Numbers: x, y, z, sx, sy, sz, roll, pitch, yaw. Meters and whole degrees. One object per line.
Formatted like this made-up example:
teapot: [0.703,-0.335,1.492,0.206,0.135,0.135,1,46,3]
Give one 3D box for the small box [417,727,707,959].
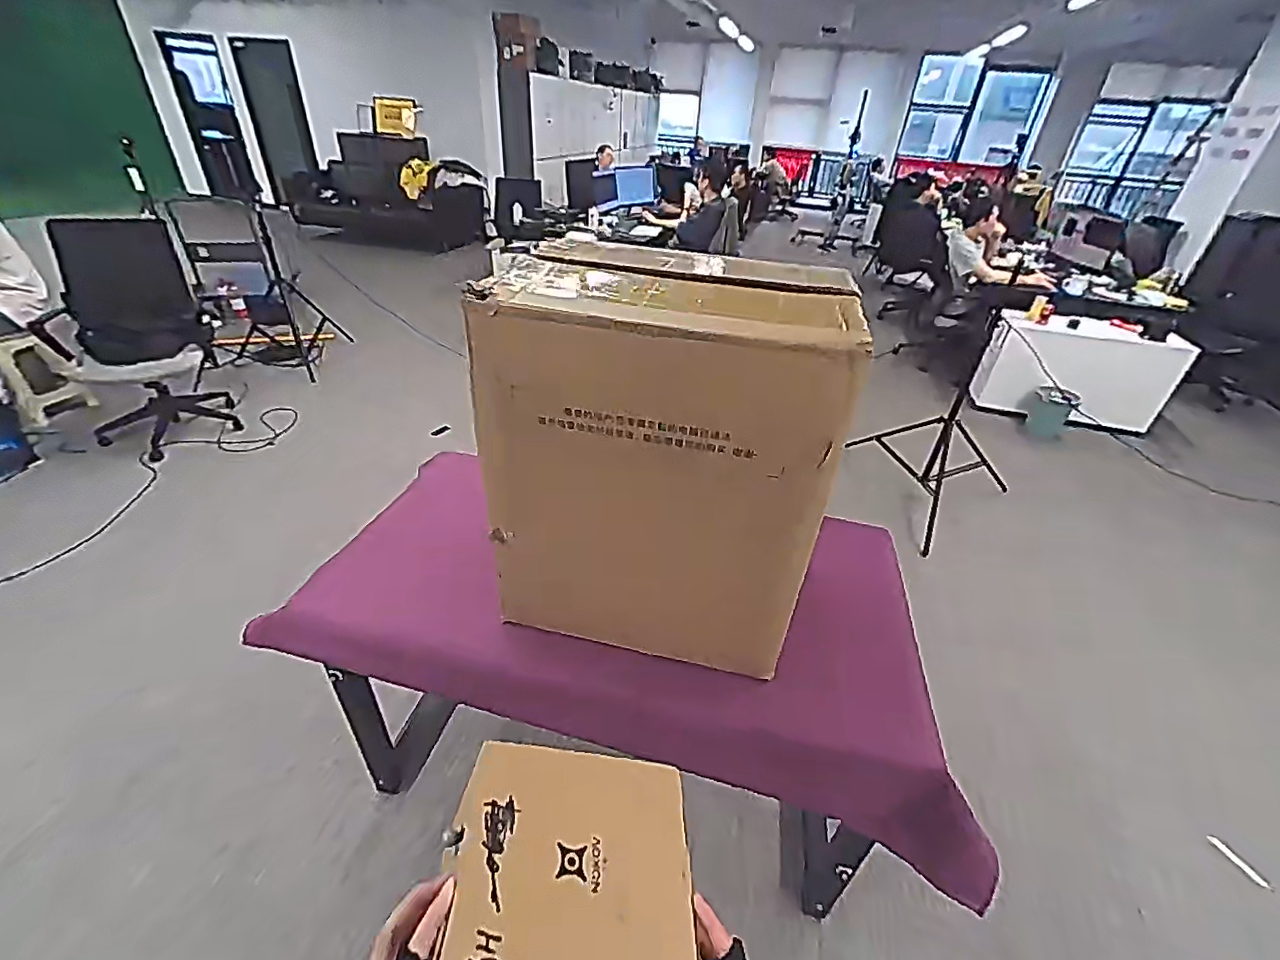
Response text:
small box: [-0.067,0.333,0.432,0.179,0.176,0.168,17,30,-14]
